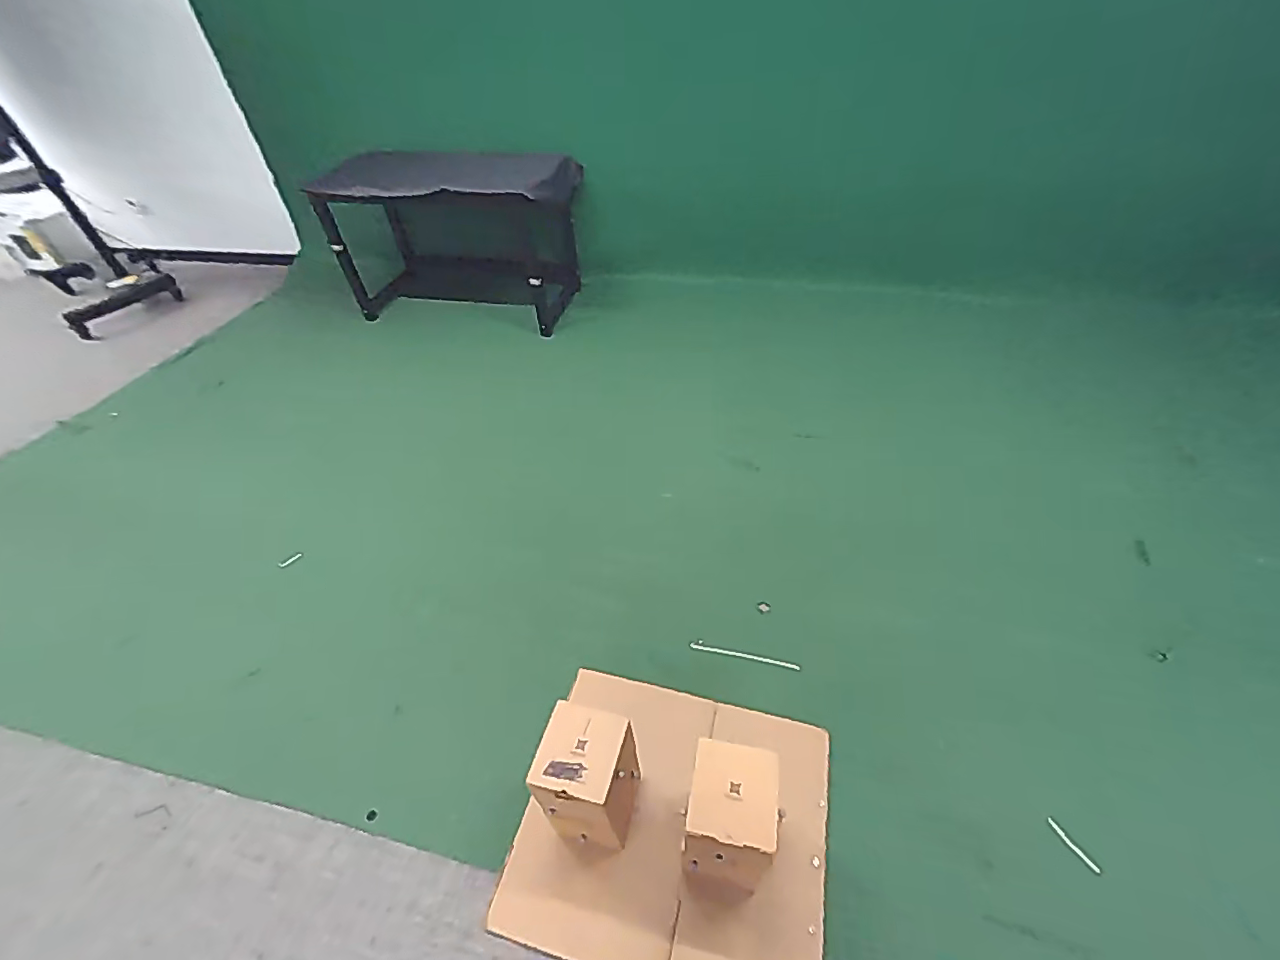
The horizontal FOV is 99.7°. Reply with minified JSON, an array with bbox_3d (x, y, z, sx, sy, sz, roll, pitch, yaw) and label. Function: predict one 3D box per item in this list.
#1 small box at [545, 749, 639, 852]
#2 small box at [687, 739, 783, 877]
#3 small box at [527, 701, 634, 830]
[{"bbox_3d":[-0.102,0.725,1.253,0.168,0.176,0.179,7,45,14],"label":"small box"},{"bbox_3d":[0.185,0.650,1.073,0.168,0.176,0.179,6,45,12],"label":"small box"},{"bbox_3d":[-0.114,0.605,1.142,0.168,0.176,0.179,8,44,15],"label":"small box"}]
